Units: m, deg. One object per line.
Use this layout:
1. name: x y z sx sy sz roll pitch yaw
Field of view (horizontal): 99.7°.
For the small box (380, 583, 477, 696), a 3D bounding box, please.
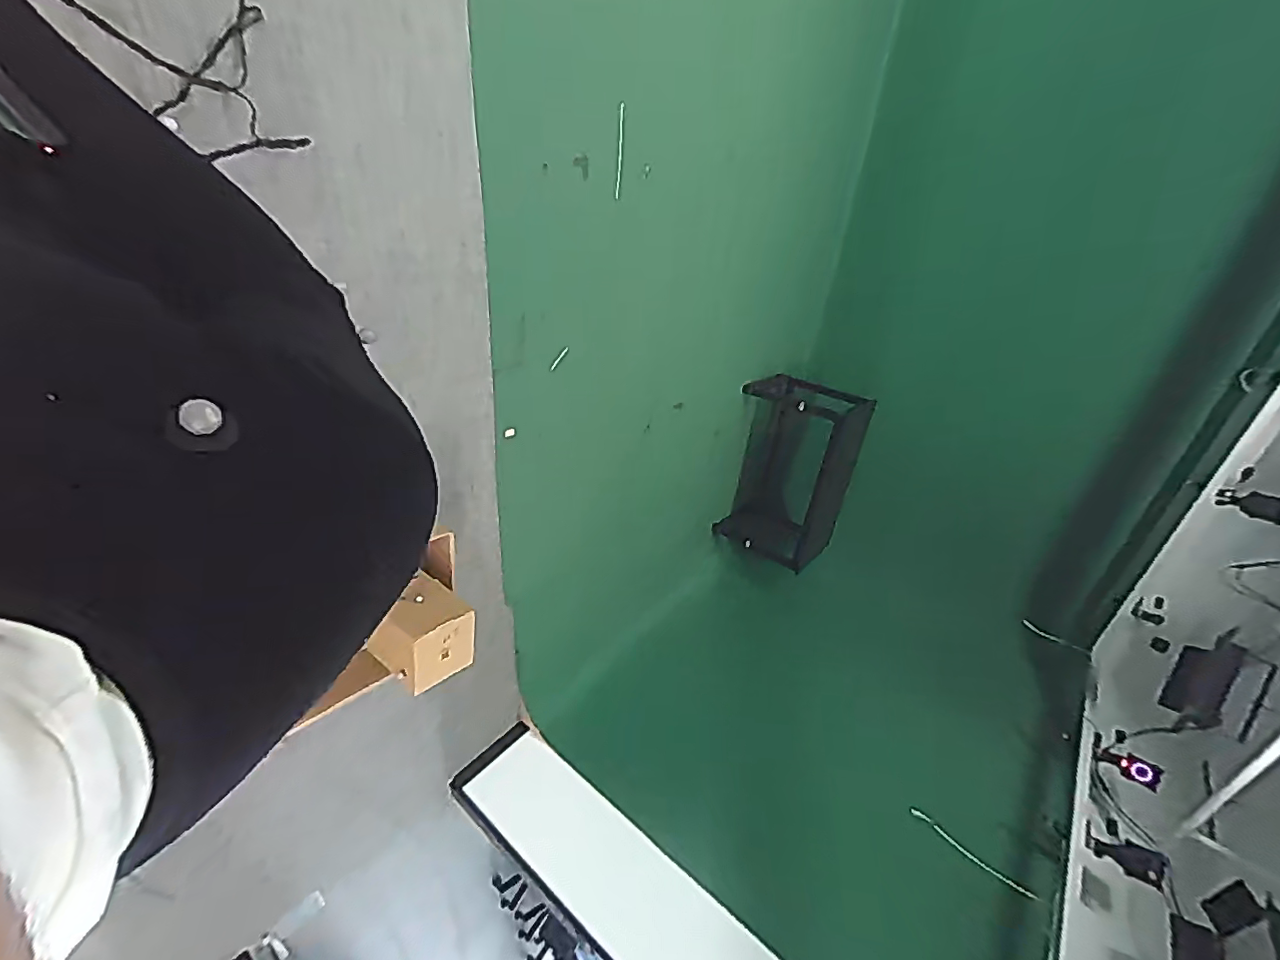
1. small box: -0.528 0.388 1.348 0.168 0.176 0.179 -21 128 -48
